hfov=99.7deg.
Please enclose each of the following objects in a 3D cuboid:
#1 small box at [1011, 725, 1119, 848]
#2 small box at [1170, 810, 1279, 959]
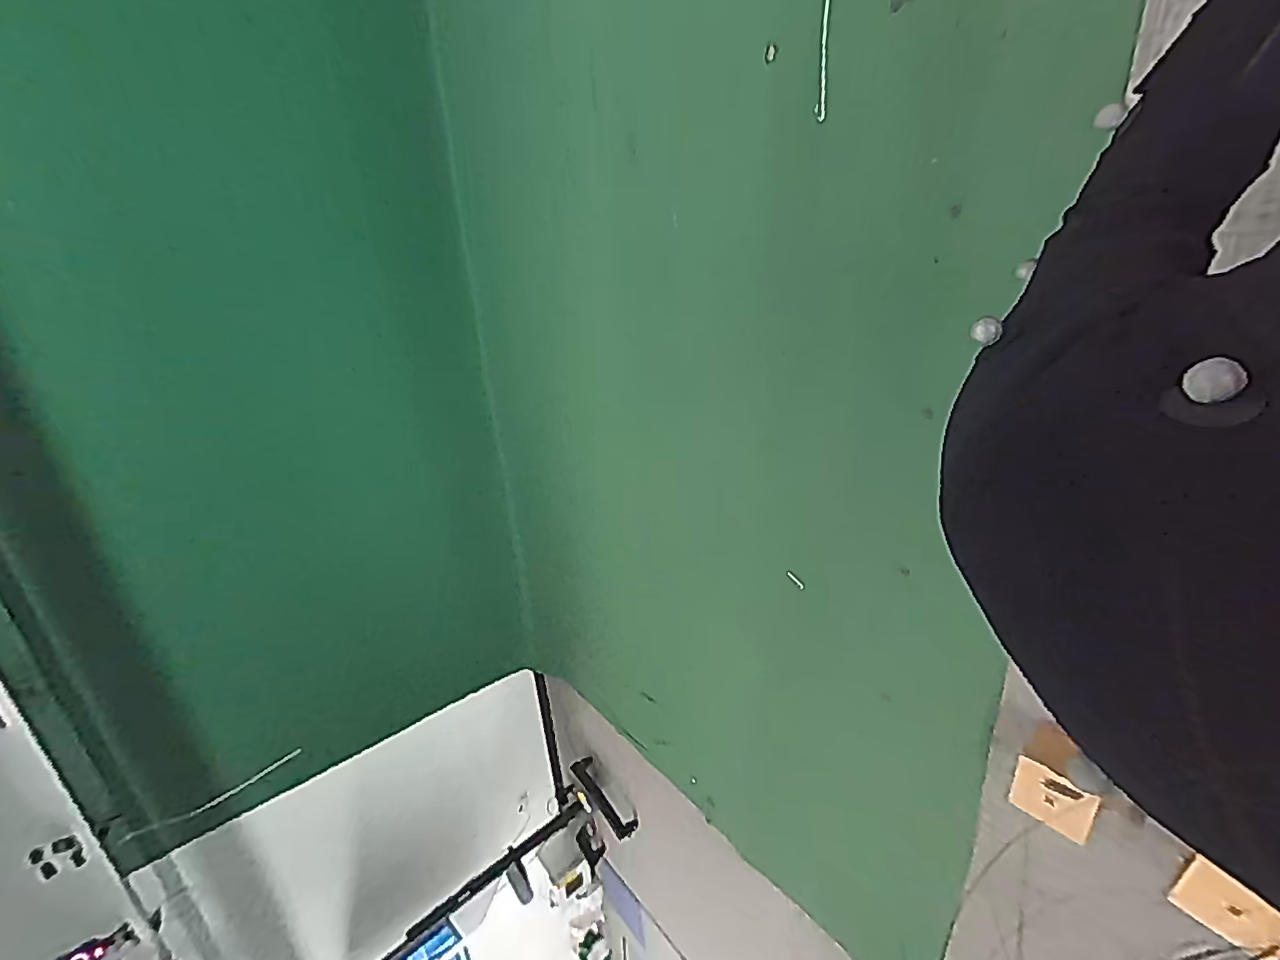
[{"bbox_3d":[1.085,0.771,1.381,0.168,0.176,0.179,22,123,47],"label":"small box"},{"bbox_3d":[1.288,0.862,1.152,0.168,0.176,0.179,27,126,44],"label":"small box"}]
